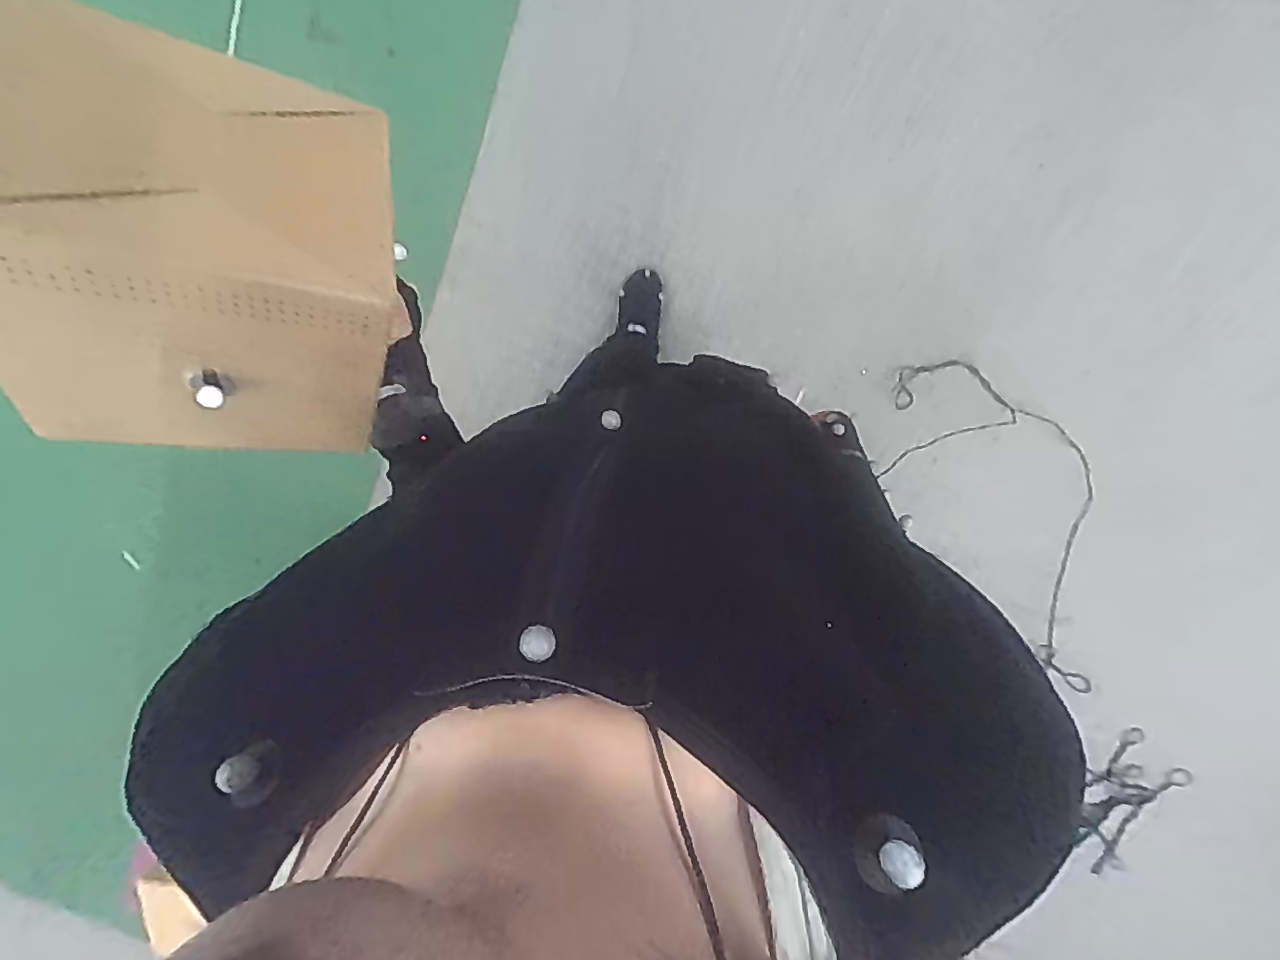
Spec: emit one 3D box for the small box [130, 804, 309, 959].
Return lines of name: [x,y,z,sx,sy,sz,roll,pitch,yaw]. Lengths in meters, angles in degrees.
small box: [-0.697,0.691,0.923,0.179,0.176,0.168,6,106,4]
